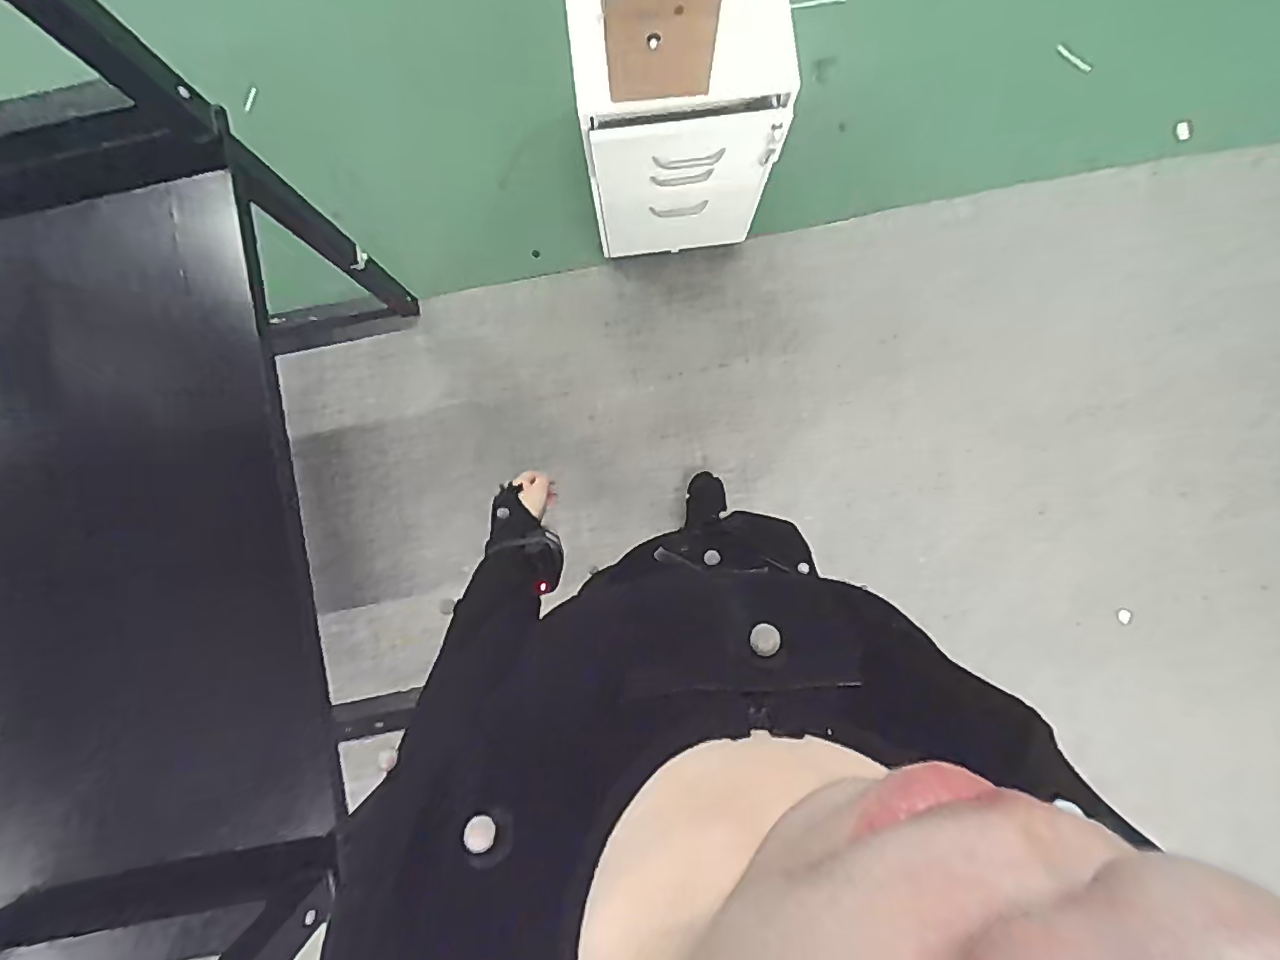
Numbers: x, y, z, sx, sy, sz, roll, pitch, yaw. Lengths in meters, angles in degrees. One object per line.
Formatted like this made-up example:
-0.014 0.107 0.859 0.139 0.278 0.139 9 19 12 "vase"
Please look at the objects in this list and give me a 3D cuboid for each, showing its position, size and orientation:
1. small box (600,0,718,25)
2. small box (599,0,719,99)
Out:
0.020 -0.739 0.703 0.168 0.176 0.179 -7 86 0 "small box"
0.026 -0.748 0.866 0.179 0.176 0.168 -4 86 0 "small box"
